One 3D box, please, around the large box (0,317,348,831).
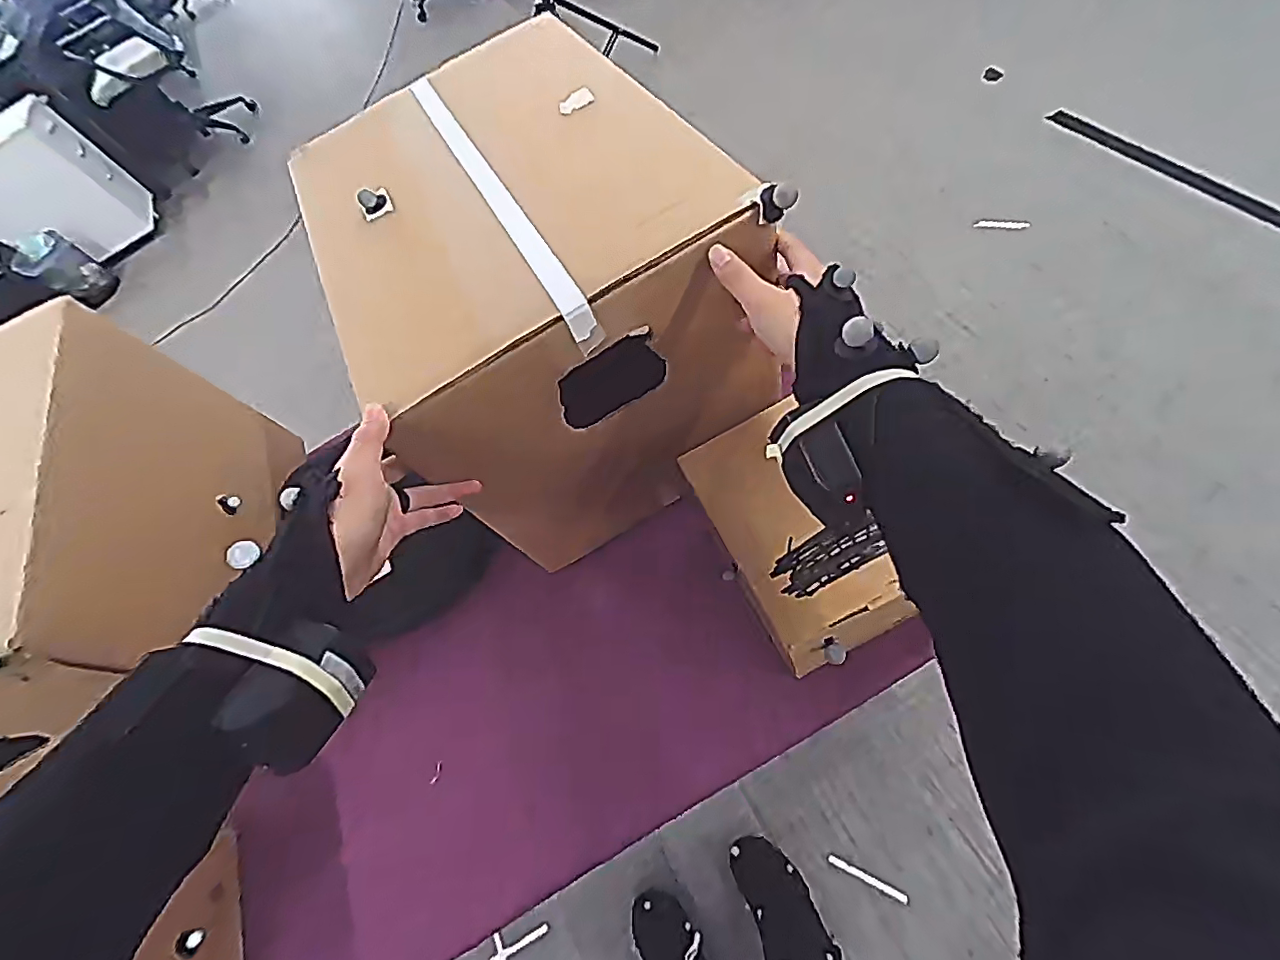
[{"bbox_3d":[-0.594,0.111,0.603,0.320,0.320,0.408,-30,62,1],"label":"large box"}]
